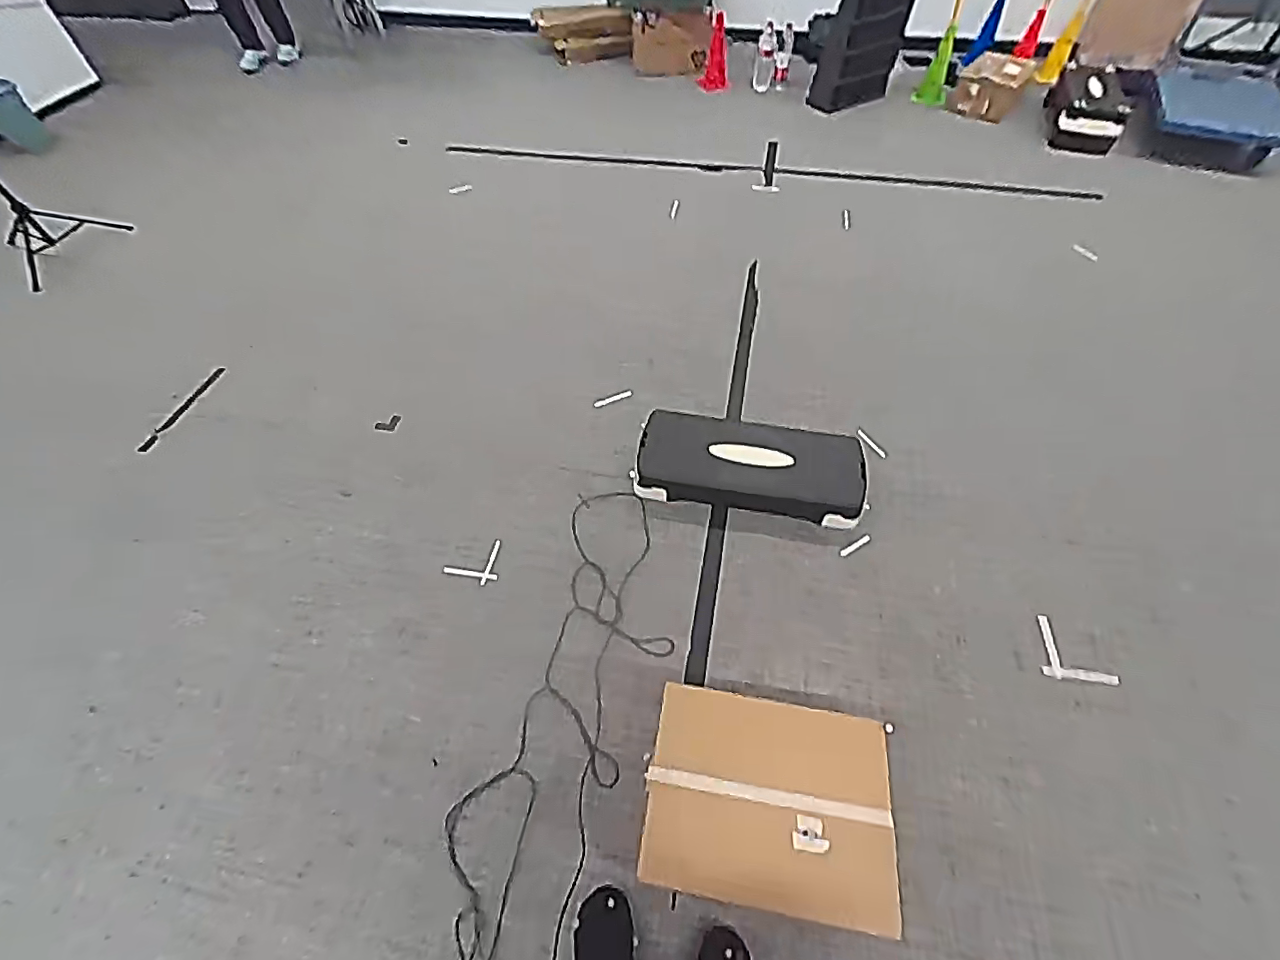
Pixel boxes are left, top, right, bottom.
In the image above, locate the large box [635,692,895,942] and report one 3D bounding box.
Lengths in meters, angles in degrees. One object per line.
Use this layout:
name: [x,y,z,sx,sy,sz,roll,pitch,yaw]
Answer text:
large box: [0.210,0.635,1.035,0.408,0.320,0.320,8,55,6]
